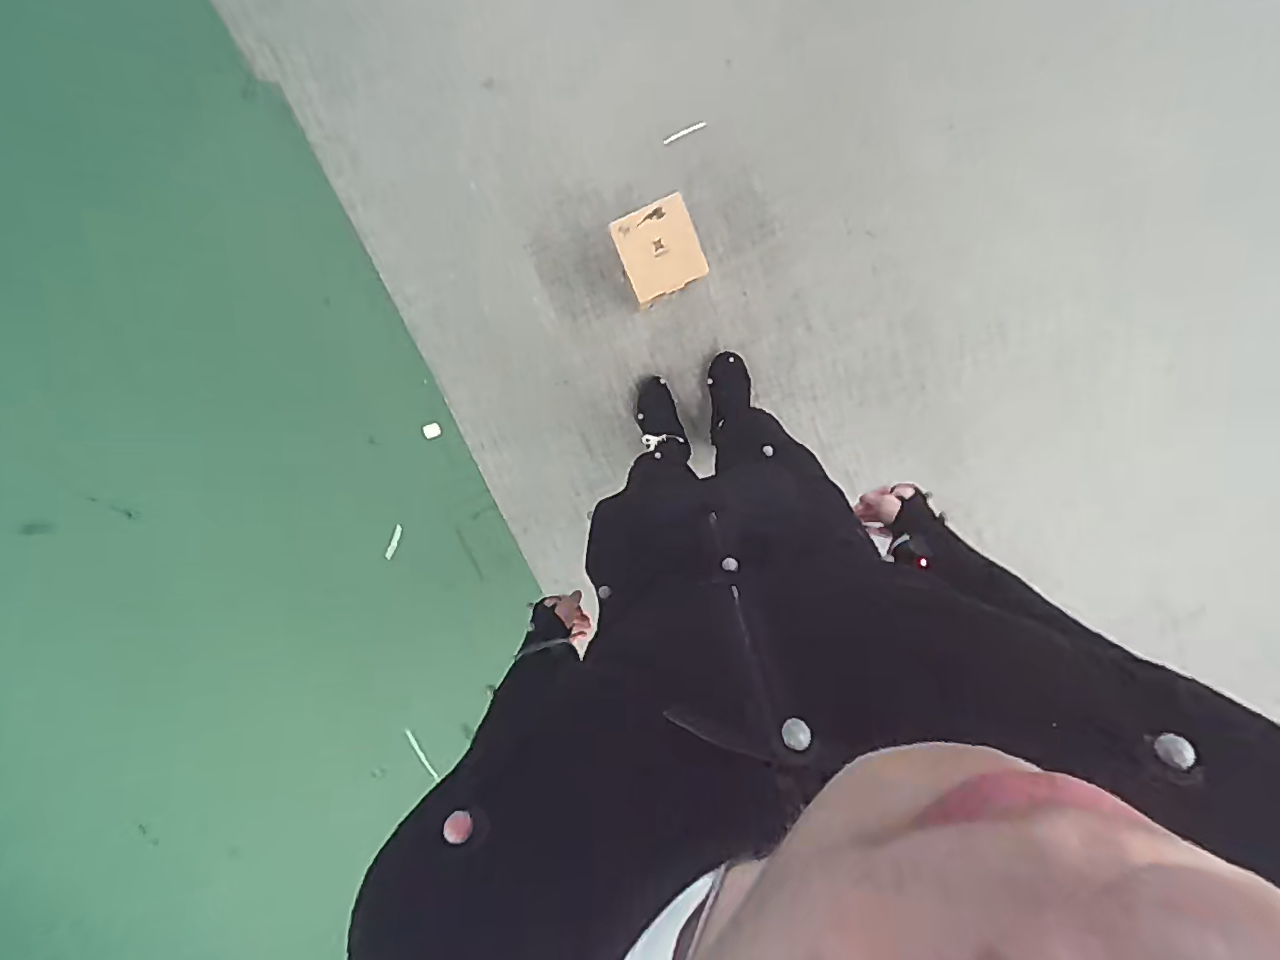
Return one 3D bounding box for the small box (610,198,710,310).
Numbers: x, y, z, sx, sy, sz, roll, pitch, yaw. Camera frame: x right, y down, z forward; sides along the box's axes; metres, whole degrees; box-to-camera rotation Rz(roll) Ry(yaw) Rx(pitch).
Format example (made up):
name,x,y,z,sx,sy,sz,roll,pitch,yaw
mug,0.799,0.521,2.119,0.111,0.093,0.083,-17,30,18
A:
name,x,y,z,sx,sy,sz,roll,pitch,yaw
small box,0.043,-0.499,1.219,0.168,0.176,0.179,-24,105,4
